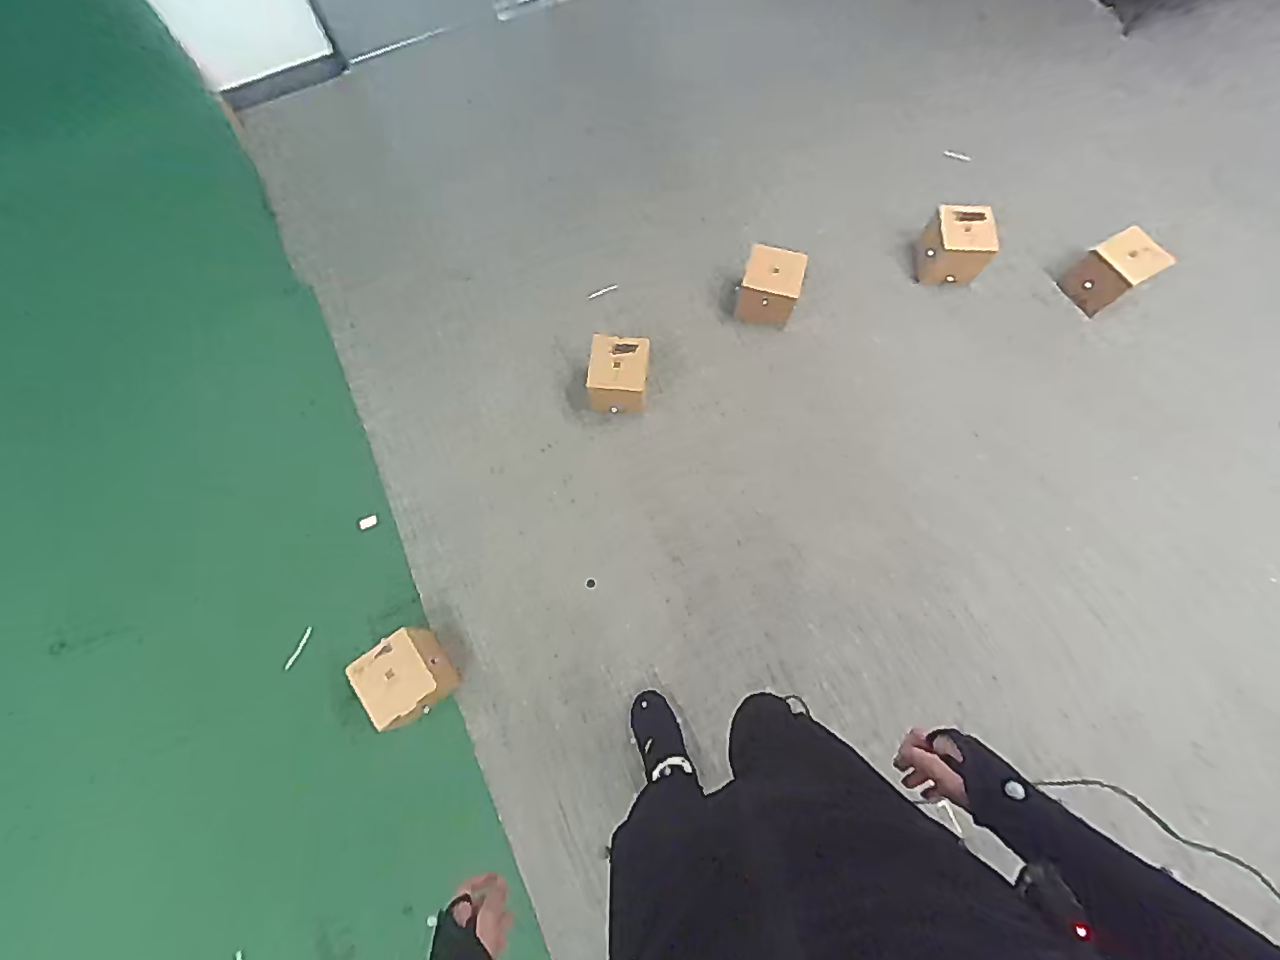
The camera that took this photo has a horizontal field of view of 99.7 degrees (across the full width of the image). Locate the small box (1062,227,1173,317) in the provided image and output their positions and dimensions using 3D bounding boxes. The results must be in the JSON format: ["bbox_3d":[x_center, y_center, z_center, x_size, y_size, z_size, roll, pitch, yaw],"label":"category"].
[{"bbox_3d":[1.497,-0.653,1.716,0.179,0.176,0.168,-29,74,-8],"label":"small box"}]

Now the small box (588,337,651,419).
[{"bbox_3d":[-0.058,-0.304,1.630,0.168,0.176,0.179,5,72,3],"label":"small box"}]

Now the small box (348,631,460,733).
[{"bbox_3d":[-0.583,0.501,1.363,0.168,0.176,0.179,-36,74,-10],"label":"small box"}]
